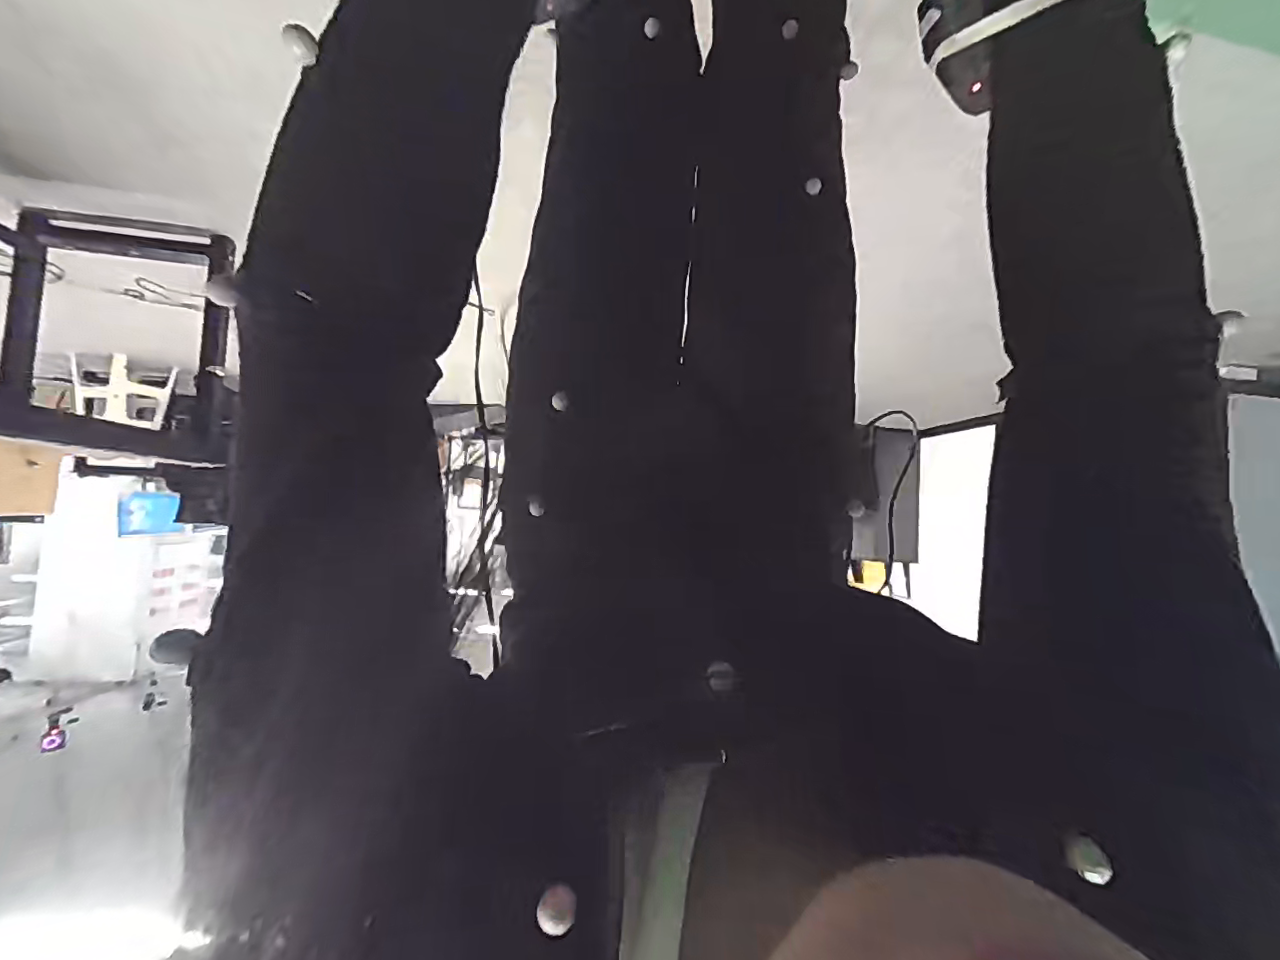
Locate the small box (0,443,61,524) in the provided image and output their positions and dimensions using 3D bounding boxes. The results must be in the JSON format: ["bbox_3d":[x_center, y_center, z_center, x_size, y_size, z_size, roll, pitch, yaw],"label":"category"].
[{"bbox_3d":[-1.428,0.006,1.173,0.179,0.176,0.168,4,176,-11],"label":"small box"}]
